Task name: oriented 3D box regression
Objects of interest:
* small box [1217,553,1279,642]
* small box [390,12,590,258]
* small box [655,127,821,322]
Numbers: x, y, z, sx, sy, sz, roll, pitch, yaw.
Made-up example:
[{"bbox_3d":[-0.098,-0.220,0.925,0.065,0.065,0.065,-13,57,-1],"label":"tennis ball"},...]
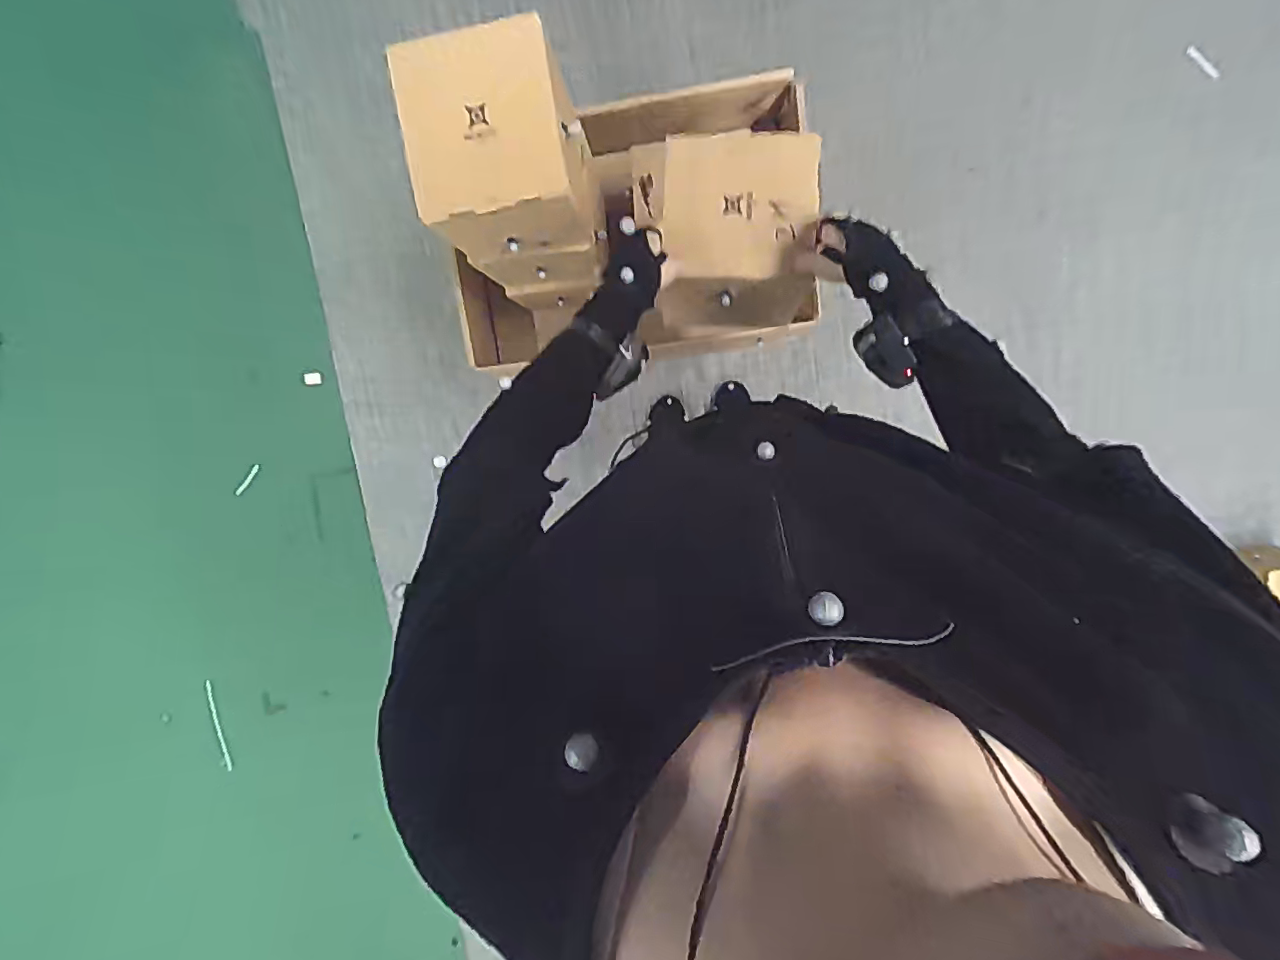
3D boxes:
[{"bbox_3d":[1.596,0.288,1.339,0.168,0.176,0.179,-9,97,6],"label":"small box"},{"bbox_3d":[-0.161,-0.385,0.638,0.168,0.176,0.179,-8,97,5],"label":"small box"},{"bbox_3d":[0.116,-0.305,0.677,0.179,0.176,0.168,3,88,5],"label":"small box"}]
